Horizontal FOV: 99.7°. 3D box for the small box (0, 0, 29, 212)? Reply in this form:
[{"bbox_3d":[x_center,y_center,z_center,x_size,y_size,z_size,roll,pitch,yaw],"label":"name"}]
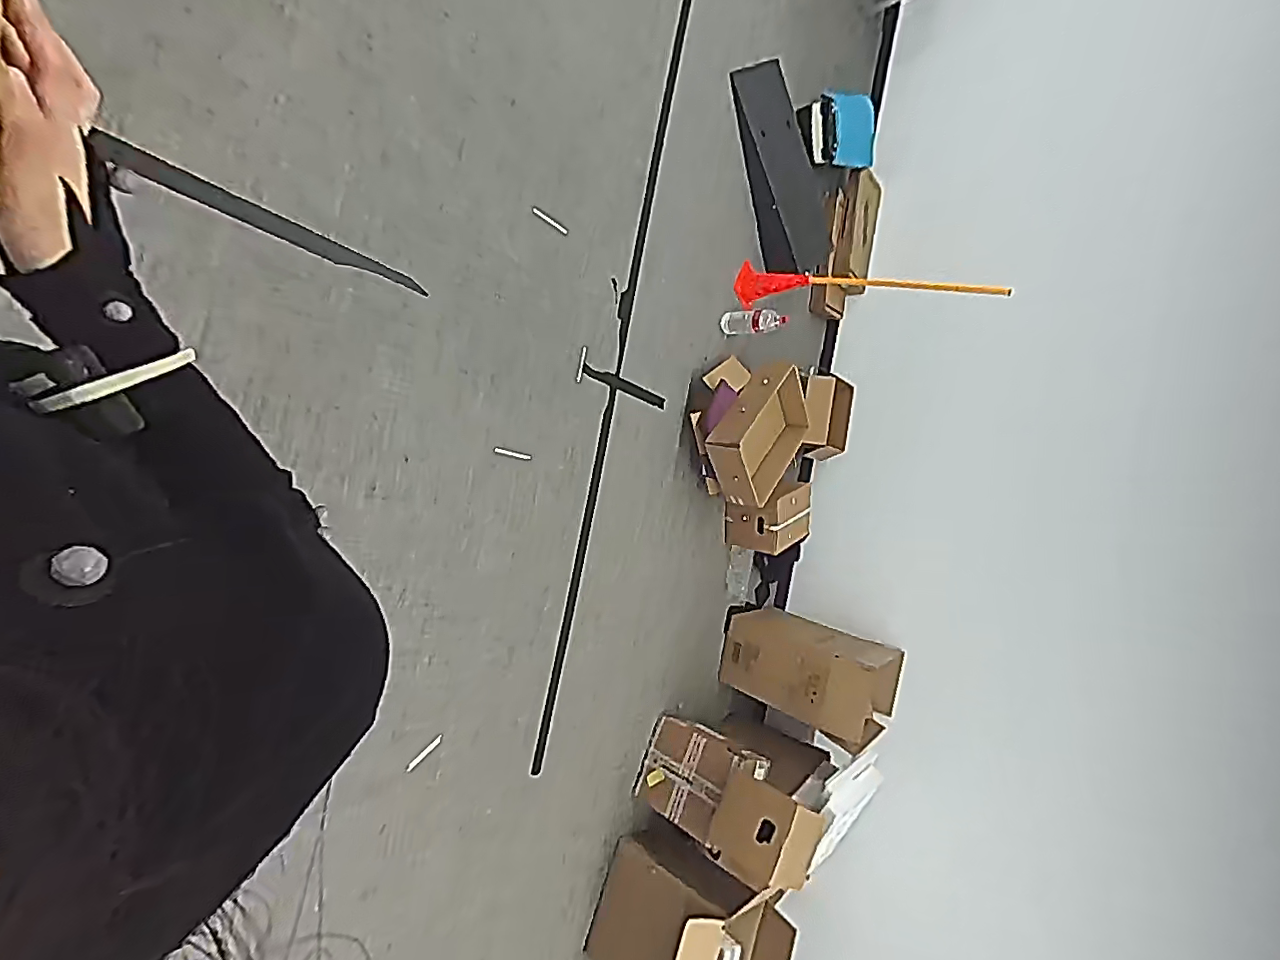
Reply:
[{"bbox_3d":[-0.378,-0.224,0.217,0.168,0.176,0.179,4,95,-53],"label":"small box"}]
